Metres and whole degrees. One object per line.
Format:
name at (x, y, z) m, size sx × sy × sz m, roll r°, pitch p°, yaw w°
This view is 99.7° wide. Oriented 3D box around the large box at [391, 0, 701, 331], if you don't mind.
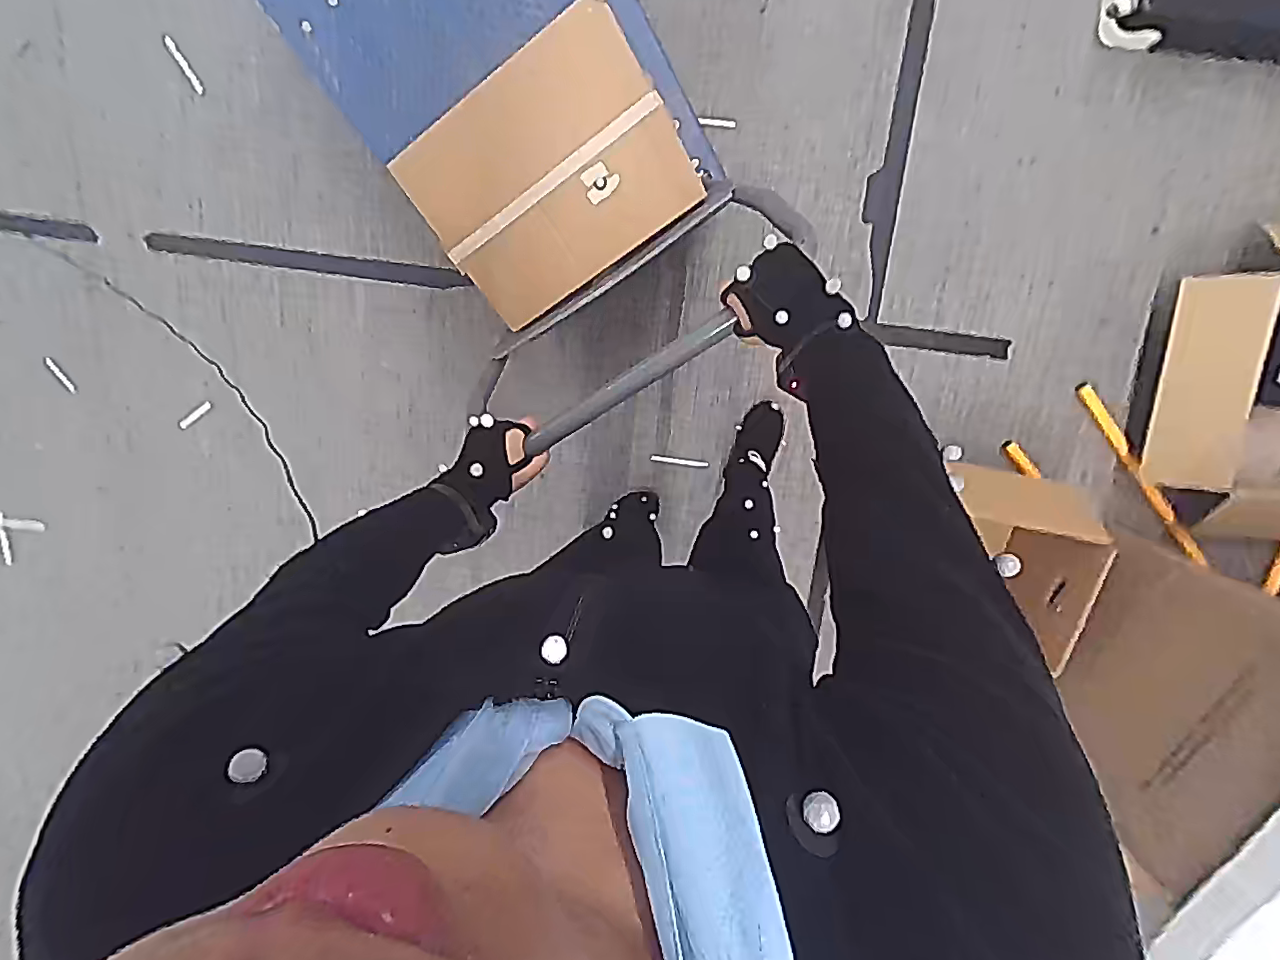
large box at (-0.152, -0.540, 0.987) m, size 0.408 × 0.320 × 0.320 m, roll -31°, pitch 115°, yaw 13°
